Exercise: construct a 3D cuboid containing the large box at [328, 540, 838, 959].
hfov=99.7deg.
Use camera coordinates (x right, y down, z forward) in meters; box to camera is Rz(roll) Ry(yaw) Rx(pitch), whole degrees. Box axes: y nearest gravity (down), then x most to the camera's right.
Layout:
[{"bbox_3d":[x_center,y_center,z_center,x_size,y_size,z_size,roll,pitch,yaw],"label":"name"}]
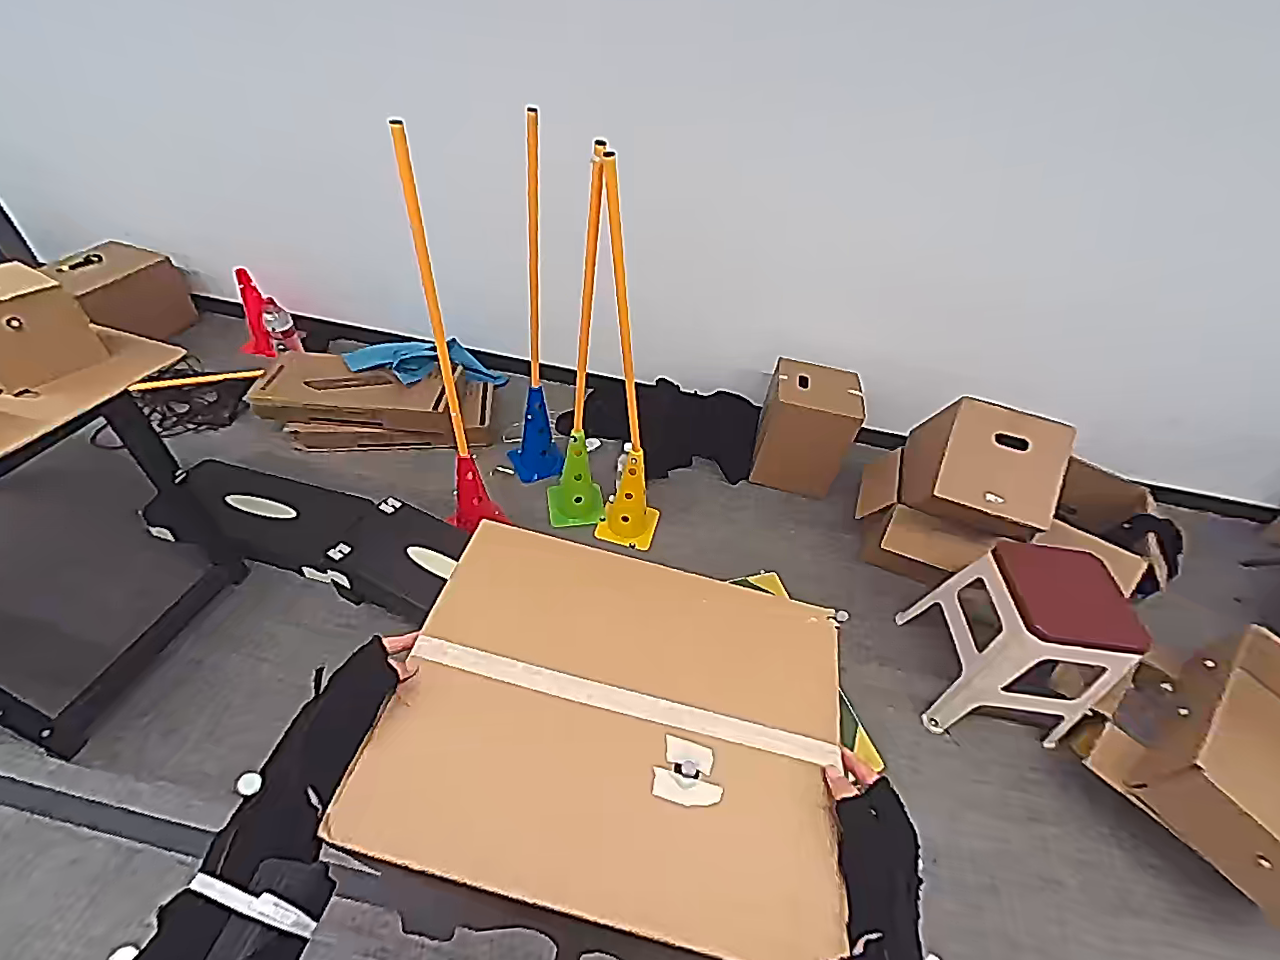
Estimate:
[{"bbox_3d":[-0.040,0.319,0.610,0.408,0.320,0.320,15,48,2],"label":"large box"}]
